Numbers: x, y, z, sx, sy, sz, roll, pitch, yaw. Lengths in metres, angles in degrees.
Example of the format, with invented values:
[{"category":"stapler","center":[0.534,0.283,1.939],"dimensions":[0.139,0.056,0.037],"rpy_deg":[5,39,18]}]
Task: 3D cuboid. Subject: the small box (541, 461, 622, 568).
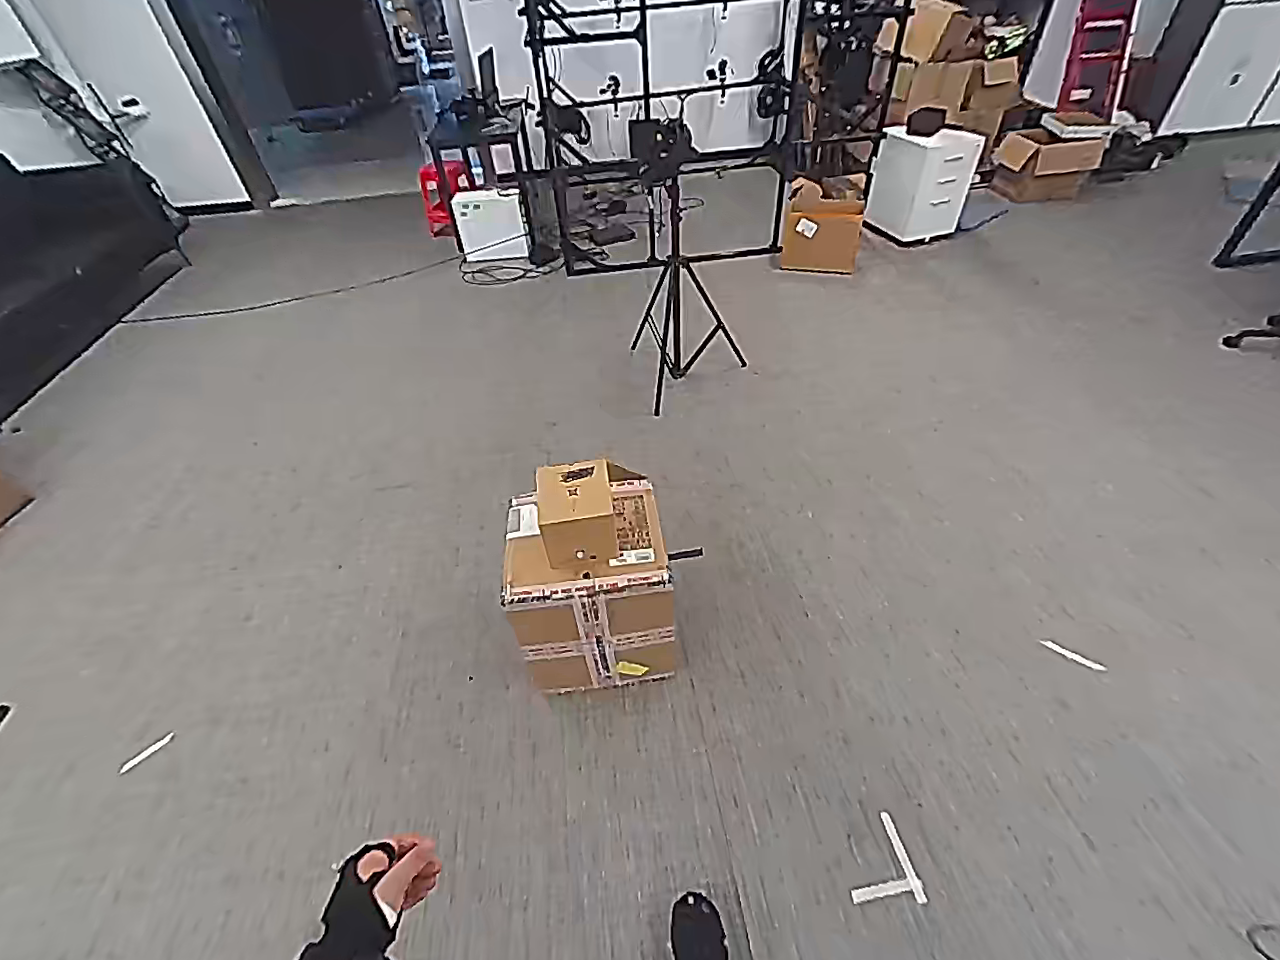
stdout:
[{"category":"small box","center":[-0.137,0.081,1.272],"dimensions":[0.168,0.176,0.179],"rpy_deg":[-8,47,-3]}]
